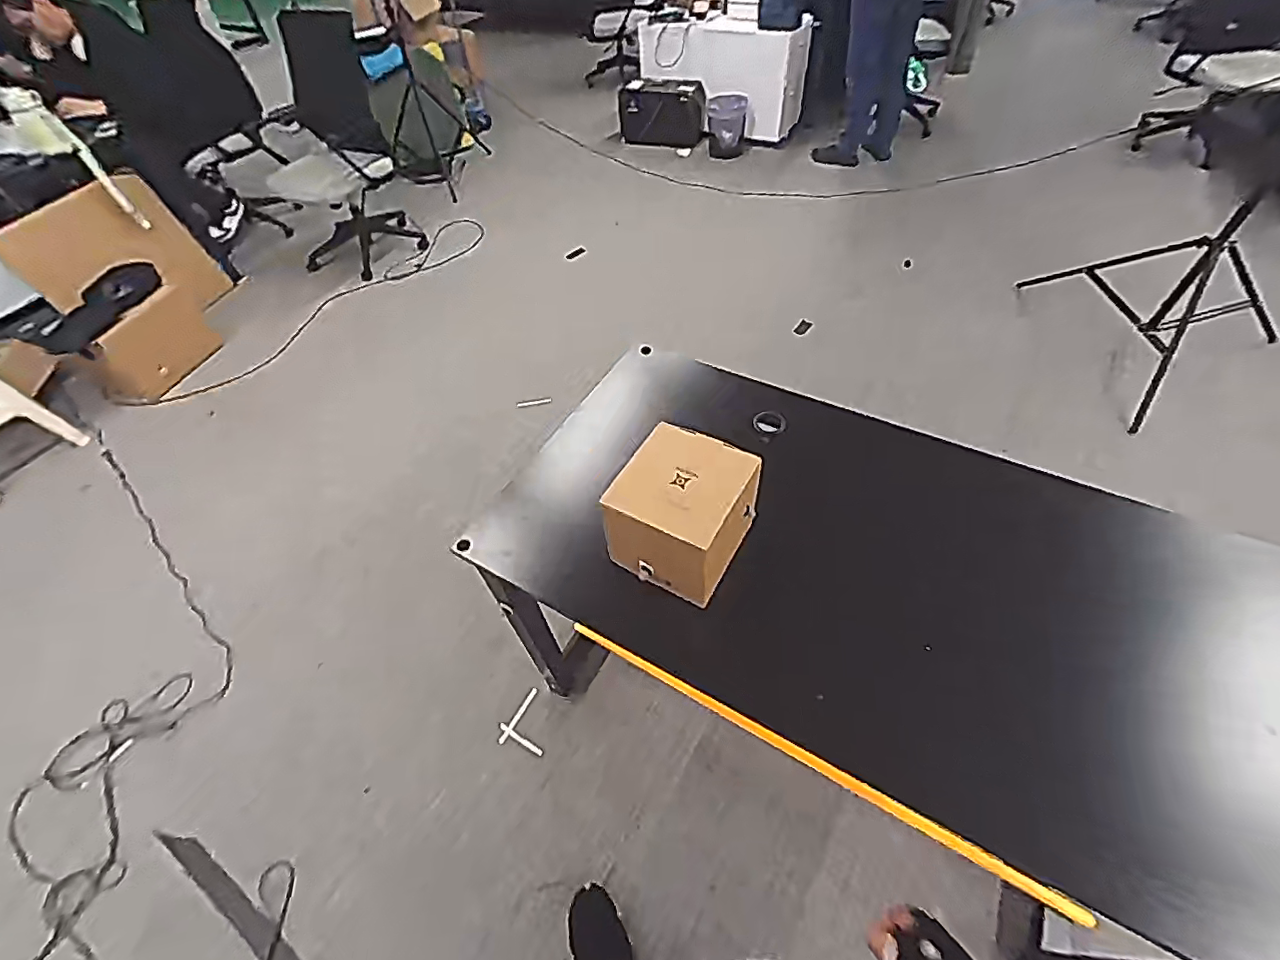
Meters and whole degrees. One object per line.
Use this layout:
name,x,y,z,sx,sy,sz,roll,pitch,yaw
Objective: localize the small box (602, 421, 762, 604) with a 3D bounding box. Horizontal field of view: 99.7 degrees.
small box,0.063,0.049,0.798,0.168,0.176,0.179,22,57,22
